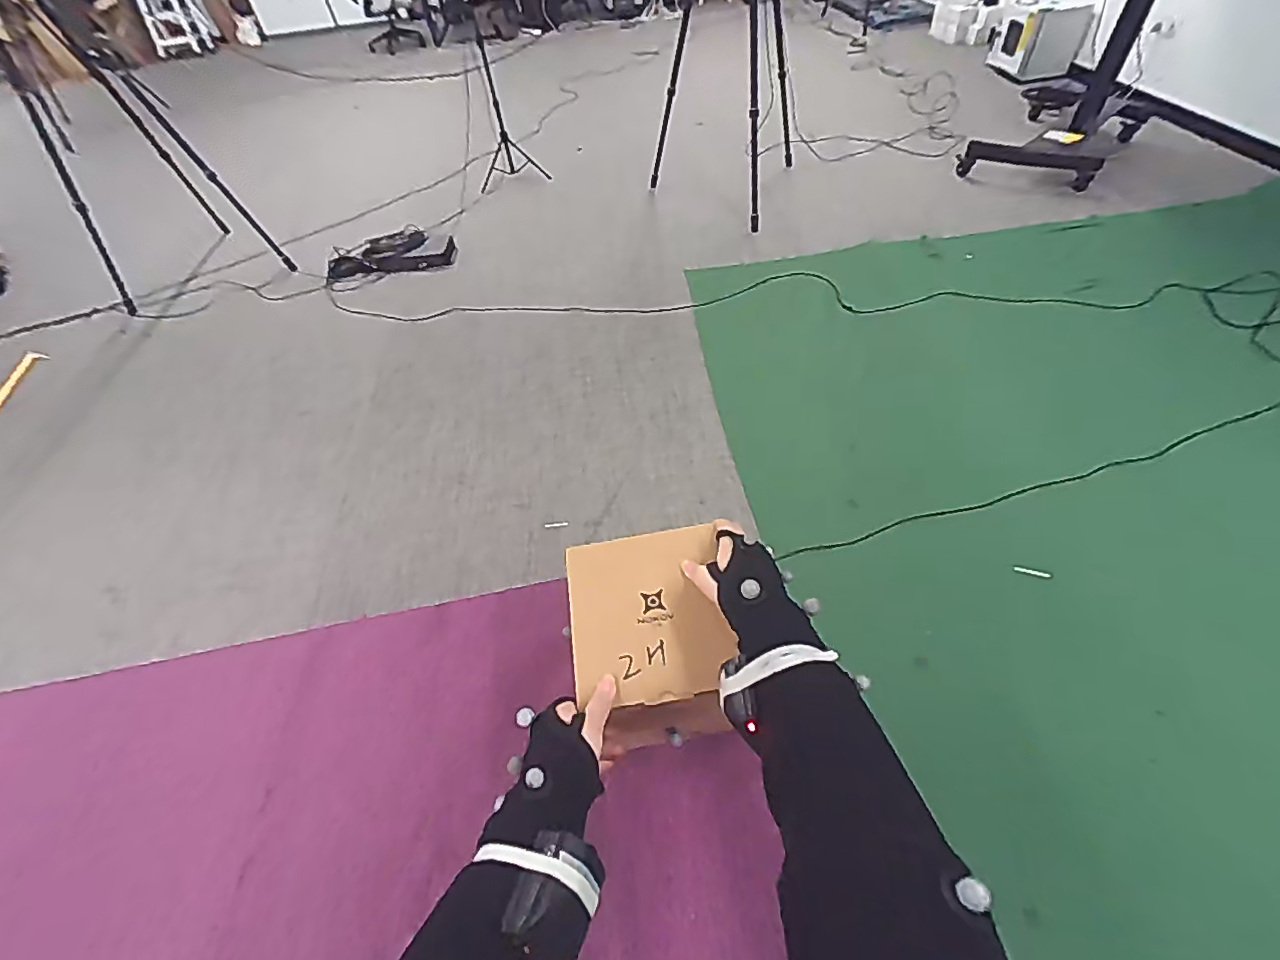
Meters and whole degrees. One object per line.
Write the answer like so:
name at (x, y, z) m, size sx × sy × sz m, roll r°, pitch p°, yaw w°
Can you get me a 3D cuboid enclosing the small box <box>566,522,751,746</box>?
small box at (0.017, 0.172, 0.596) m, size 0.168 × 0.176 × 0.179 m, roll -10°, pitch 53°, yaw 0°
